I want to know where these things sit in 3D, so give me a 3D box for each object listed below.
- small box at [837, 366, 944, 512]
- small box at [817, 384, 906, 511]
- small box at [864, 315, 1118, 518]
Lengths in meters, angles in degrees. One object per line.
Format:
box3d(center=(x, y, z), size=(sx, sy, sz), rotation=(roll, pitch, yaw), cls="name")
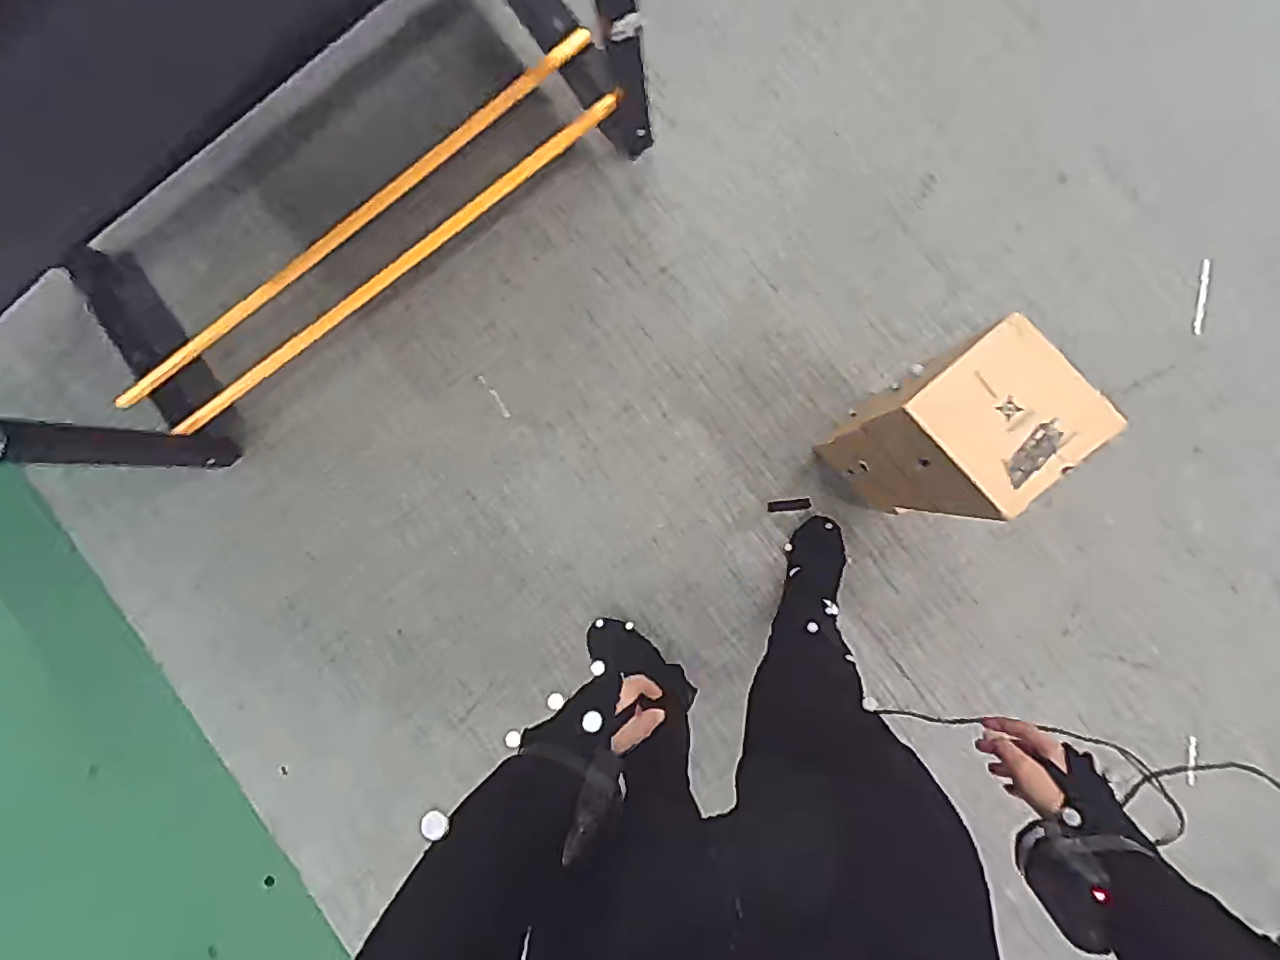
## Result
box3d(center=(0.443, -0.070, 0.853), size=(0.179, 0.176, 0.168), rotation=(-42, 85, 5), cls="small box")
box3d(center=(0.461, -0.058, 1.015), size=(0.168, 0.176, 0.179), rotation=(-41, 86, 4), cls="small box")
box3d(center=(0.425, -0.072, 0.689), size=(0.168, 0.176, 0.179), rotation=(-41, 85, 4), cls="small box")
